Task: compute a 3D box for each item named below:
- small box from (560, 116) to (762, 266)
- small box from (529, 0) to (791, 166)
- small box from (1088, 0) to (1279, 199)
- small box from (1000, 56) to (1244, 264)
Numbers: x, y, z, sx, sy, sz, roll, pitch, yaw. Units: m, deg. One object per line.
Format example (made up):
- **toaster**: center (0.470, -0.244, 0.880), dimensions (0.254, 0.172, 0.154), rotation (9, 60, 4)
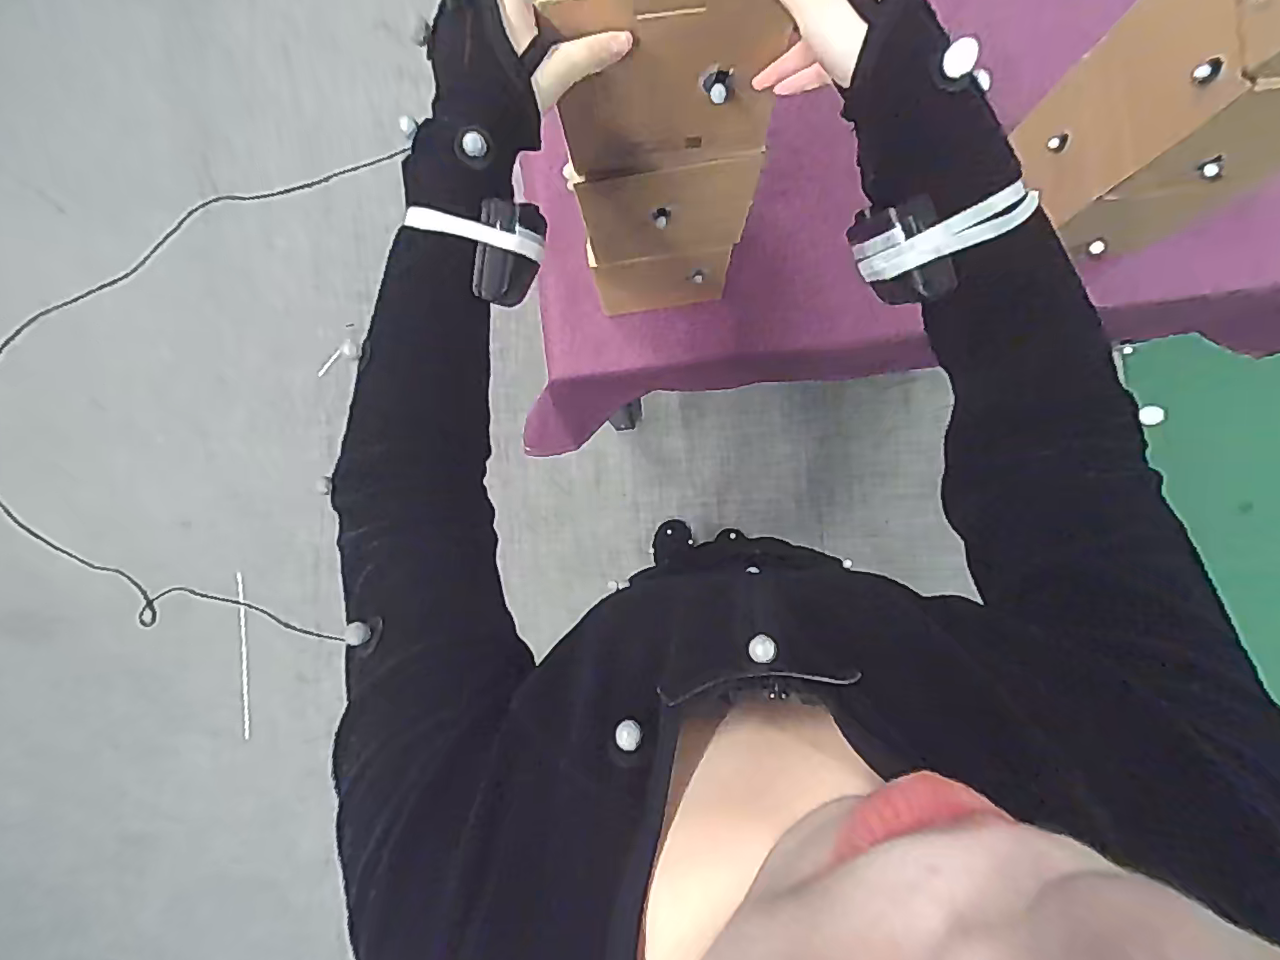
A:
- **small box**: center (0.016, -0.347, 0.564), dimensions (0.179, 0.176, 0.168), rotation (-9, 87, 3)
- **small box**: center (0.012, -0.362, 0.402), dimensions (0.168, 0.176, 0.179), rotation (-5, 87, 2)
- **small box**: center (0.588, -0.411, 0.532), dimensions (0.168, 0.176, 0.179), rotation (-4, 88, 3)
- **small box**: center (0.596, -0.403, 0.694), dimensions (0.168, 0.176, 0.179), rotation (-4, 87, 4)
